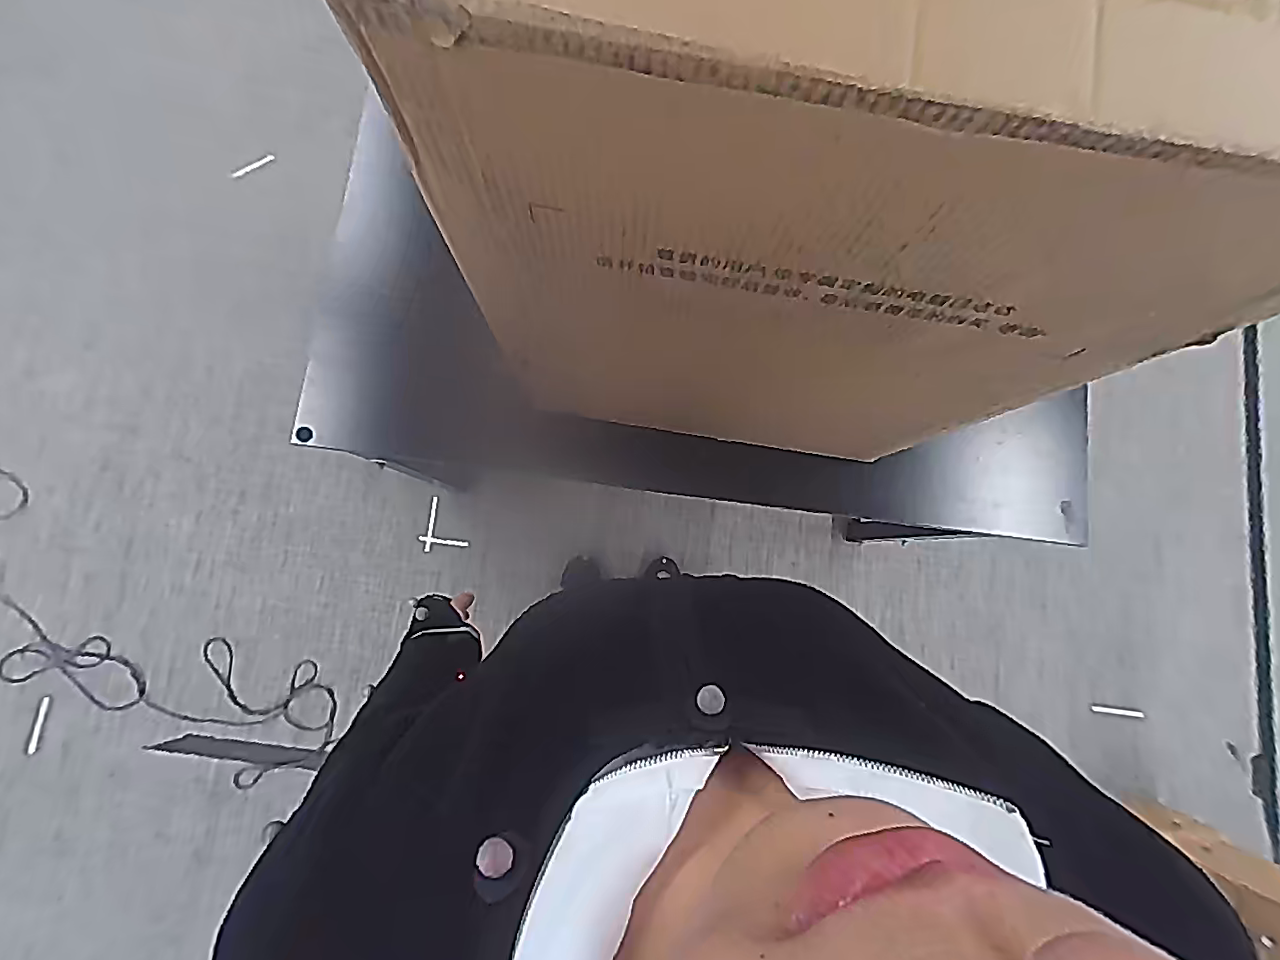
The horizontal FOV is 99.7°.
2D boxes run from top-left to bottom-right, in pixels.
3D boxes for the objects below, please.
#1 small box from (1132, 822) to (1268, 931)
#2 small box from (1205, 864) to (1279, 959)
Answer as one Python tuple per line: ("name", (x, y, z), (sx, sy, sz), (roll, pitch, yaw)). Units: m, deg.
("small box", (1.387, 0.974, 1.341), (0.179, 0.176, 0.168), (1, 82, -2))
("small box", (1.394, 0.971, 1.176), (0.179, 0.176, 0.168), (0, 82, -3))
